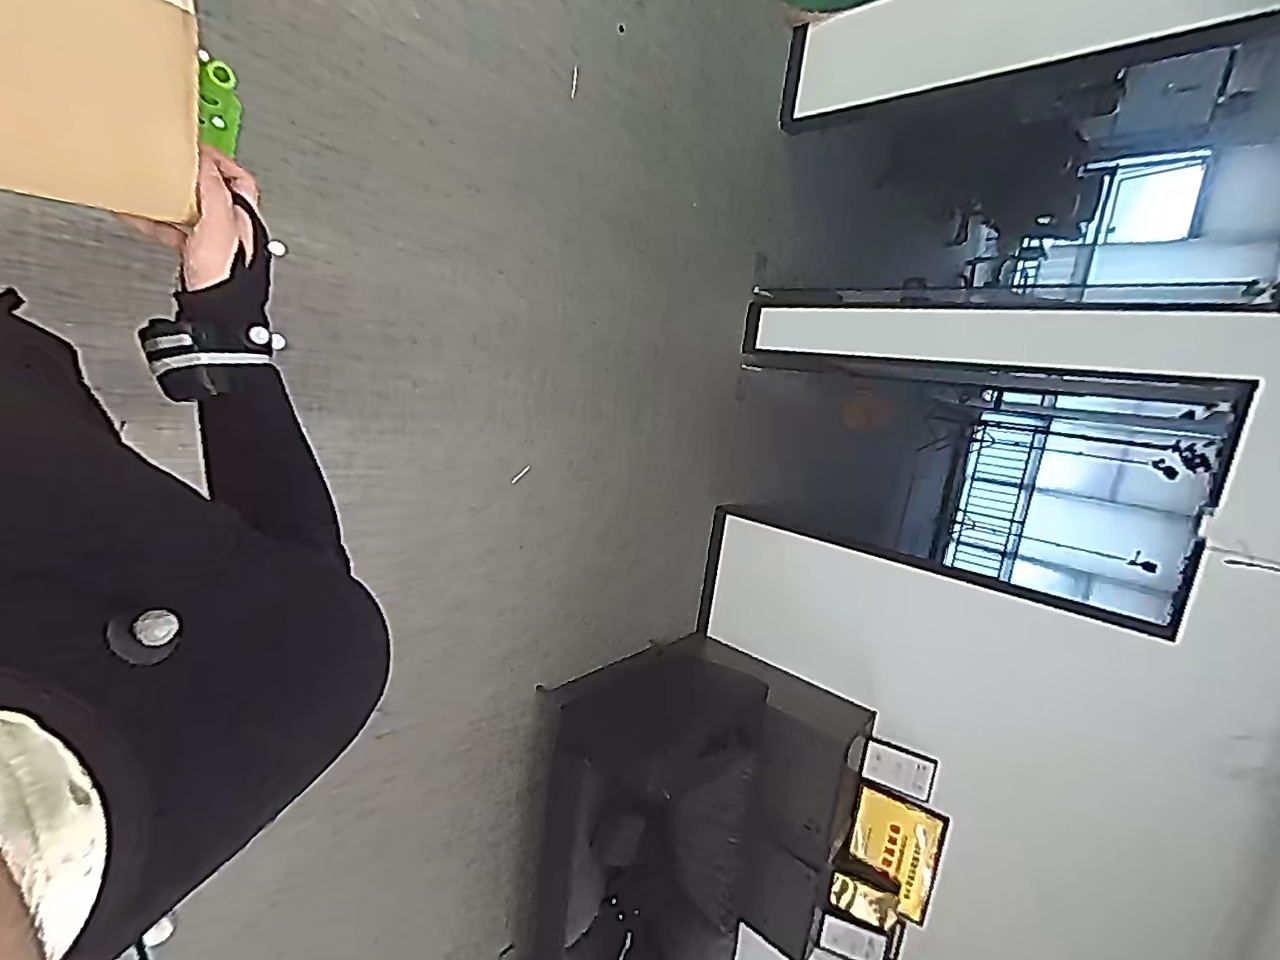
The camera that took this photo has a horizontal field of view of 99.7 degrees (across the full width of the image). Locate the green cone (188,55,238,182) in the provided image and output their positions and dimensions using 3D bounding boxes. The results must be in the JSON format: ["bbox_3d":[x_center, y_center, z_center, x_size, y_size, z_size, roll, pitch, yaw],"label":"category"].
[{"bbox_3d":[-0.871,-0.753,1.064,0.200,0.368,0.202,6,96,-52],"label":"green cone"}]
